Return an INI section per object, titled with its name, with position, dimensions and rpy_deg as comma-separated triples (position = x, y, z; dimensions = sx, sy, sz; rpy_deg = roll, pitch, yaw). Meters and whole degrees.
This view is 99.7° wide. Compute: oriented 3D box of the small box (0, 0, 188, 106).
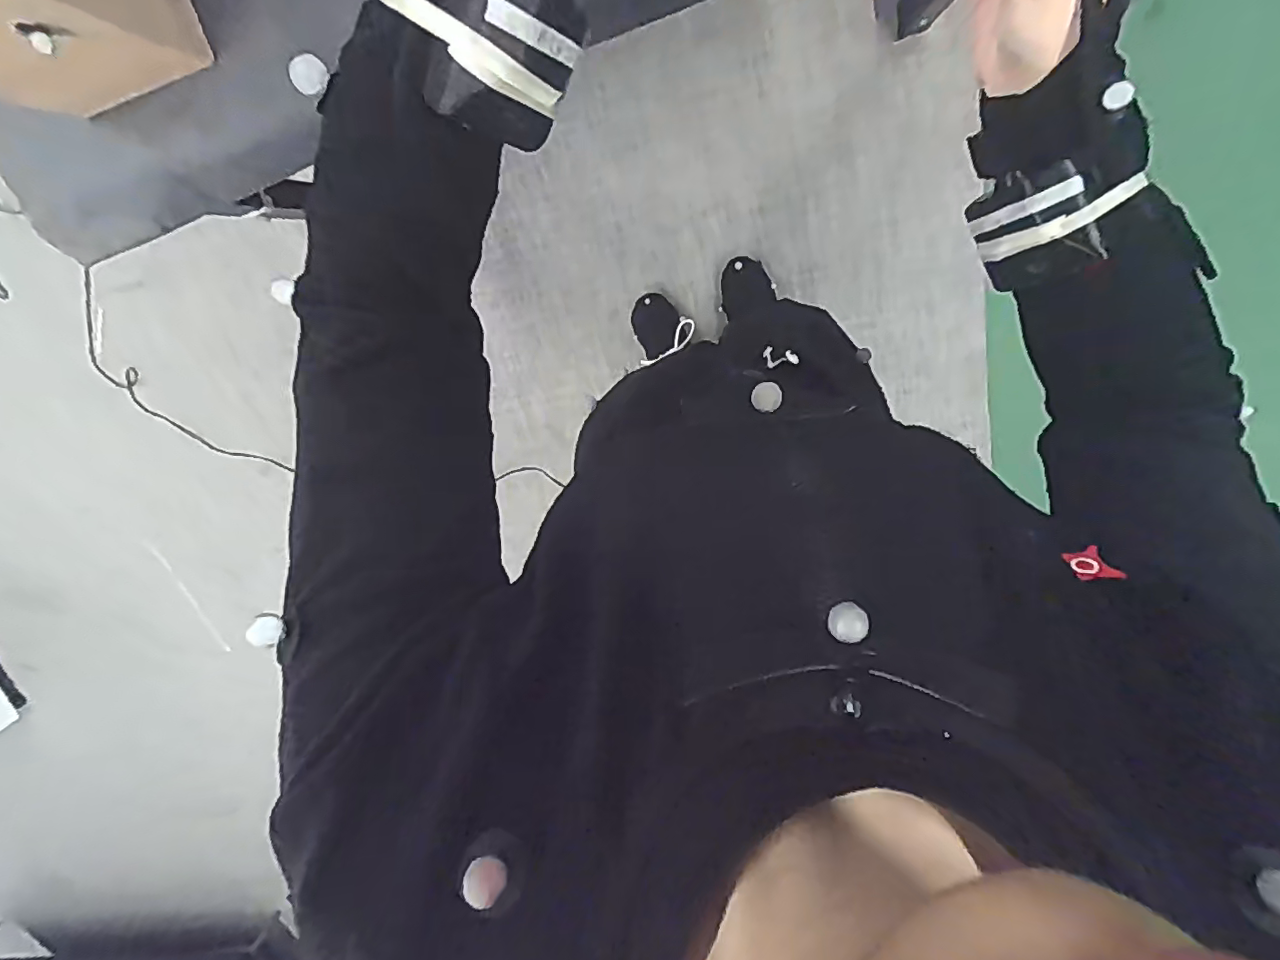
[small box]
position = -0.523, -0.436, 0.435
dimensions = 0.179, 0.176, 0.168
rpy_deg = -10, 110, 12
